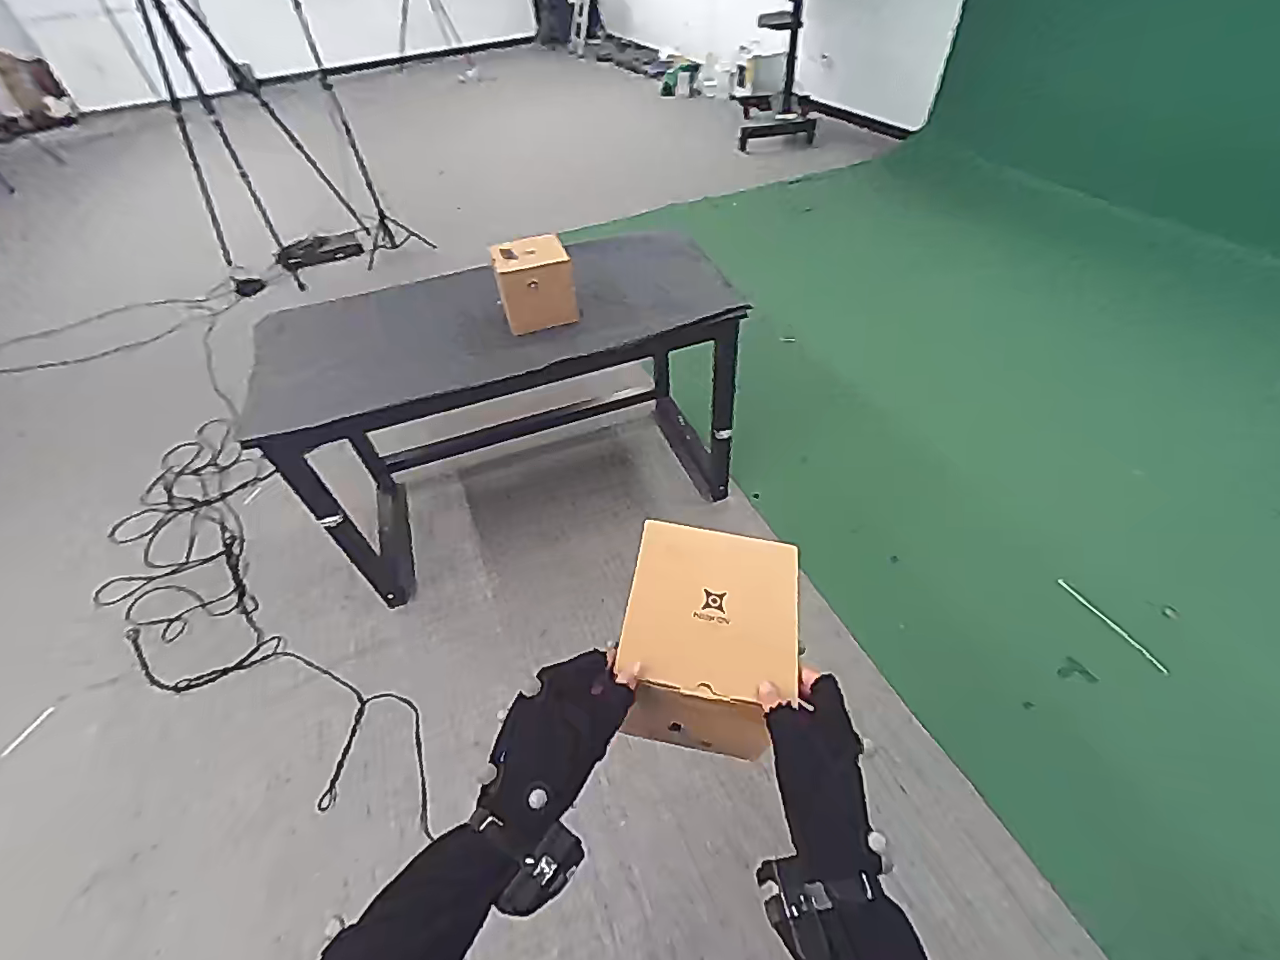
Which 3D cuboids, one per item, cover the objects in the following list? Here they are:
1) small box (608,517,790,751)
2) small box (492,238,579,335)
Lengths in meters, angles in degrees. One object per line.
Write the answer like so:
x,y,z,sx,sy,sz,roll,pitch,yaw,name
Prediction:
0.060,0.169,0.590,0.168,0.176,0.179,9,50,4,small box
-0.266,-0.494,1.392,0.179,0.176,0.168,-16,48,-11,small box
